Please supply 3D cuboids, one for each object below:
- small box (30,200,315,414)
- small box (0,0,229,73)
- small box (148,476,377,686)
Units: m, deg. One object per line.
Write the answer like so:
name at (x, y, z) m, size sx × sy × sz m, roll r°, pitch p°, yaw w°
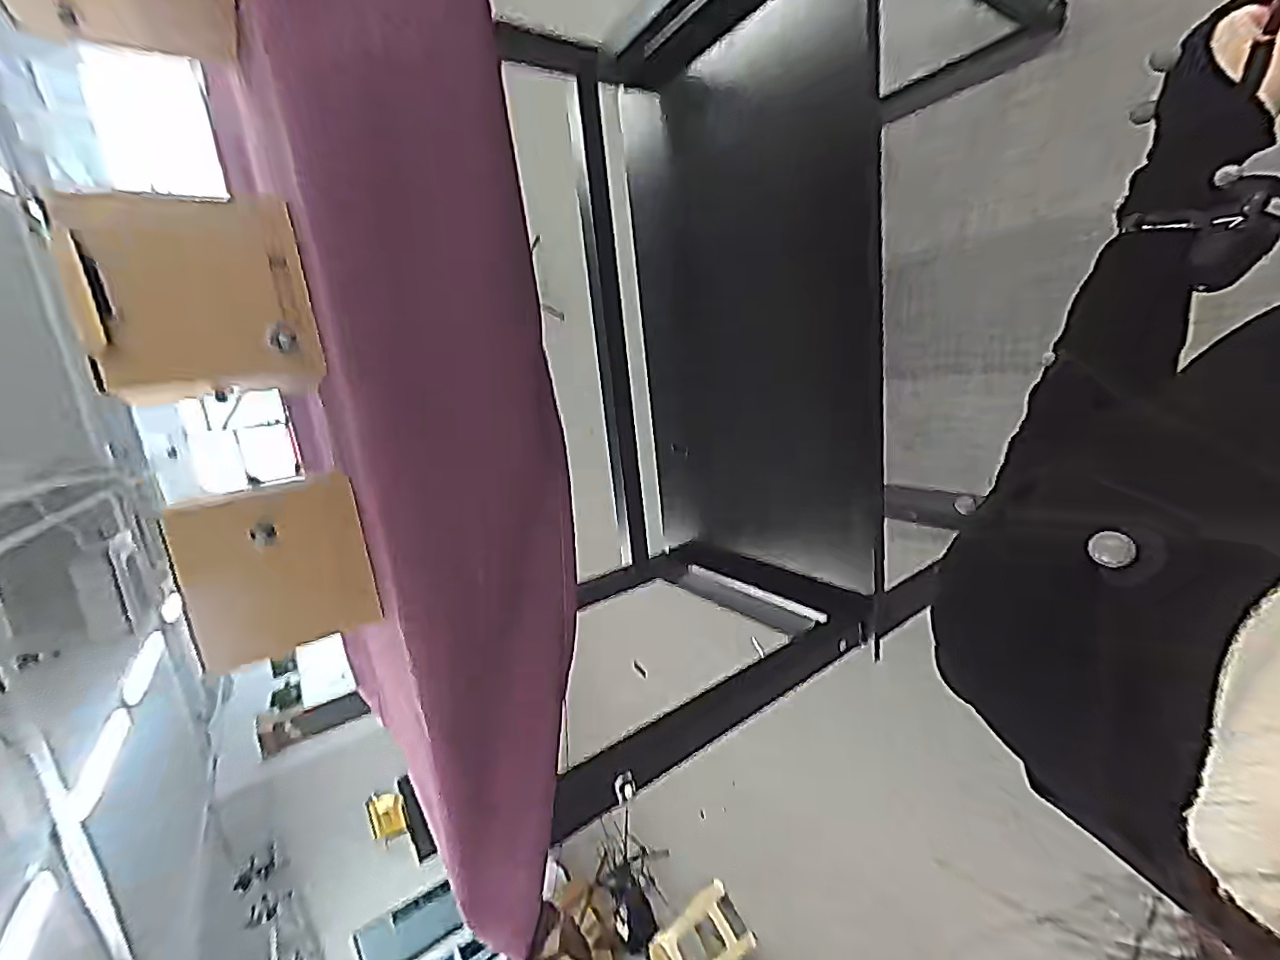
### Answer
small box at (-0.443, -0.165, 0.548) m, size 0.179 × 0.176 × 0.168 m, roll 4°, pitch 105°, yaw 57°
small box at (-0.472, -0.484, 0.460) m, size 0.179 × 0.176 × 0.168 m, roll 17°, pitch 117°, yaw 53°
small box at (-0.422, 0.097, 0.623) m, size 0.168 × 0.176 × 0.179 m, roll 6°, pitch 108°, yaw 56°
